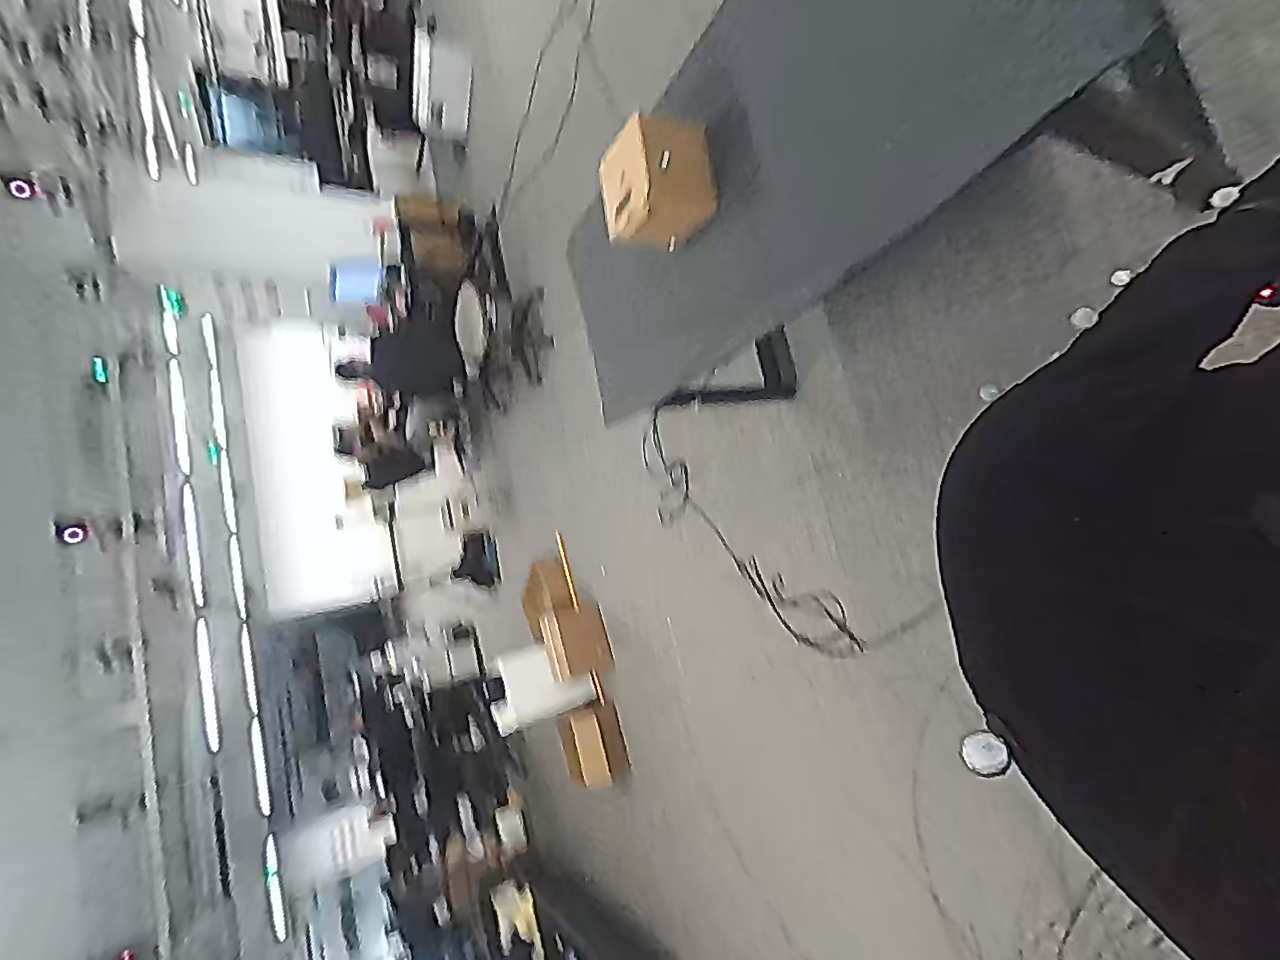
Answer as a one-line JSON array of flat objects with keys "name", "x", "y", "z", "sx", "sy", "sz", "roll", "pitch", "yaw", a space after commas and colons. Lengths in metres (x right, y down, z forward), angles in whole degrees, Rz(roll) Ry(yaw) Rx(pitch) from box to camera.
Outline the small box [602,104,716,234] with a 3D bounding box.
[{"name": "small box", "x": 0.042, "y": -0.641, "z": 1.142, "sx": 0.168, "sy": 0.176, "sz": 0.179, "roll": -16, "pitch": 83, "yaw": 58}]
